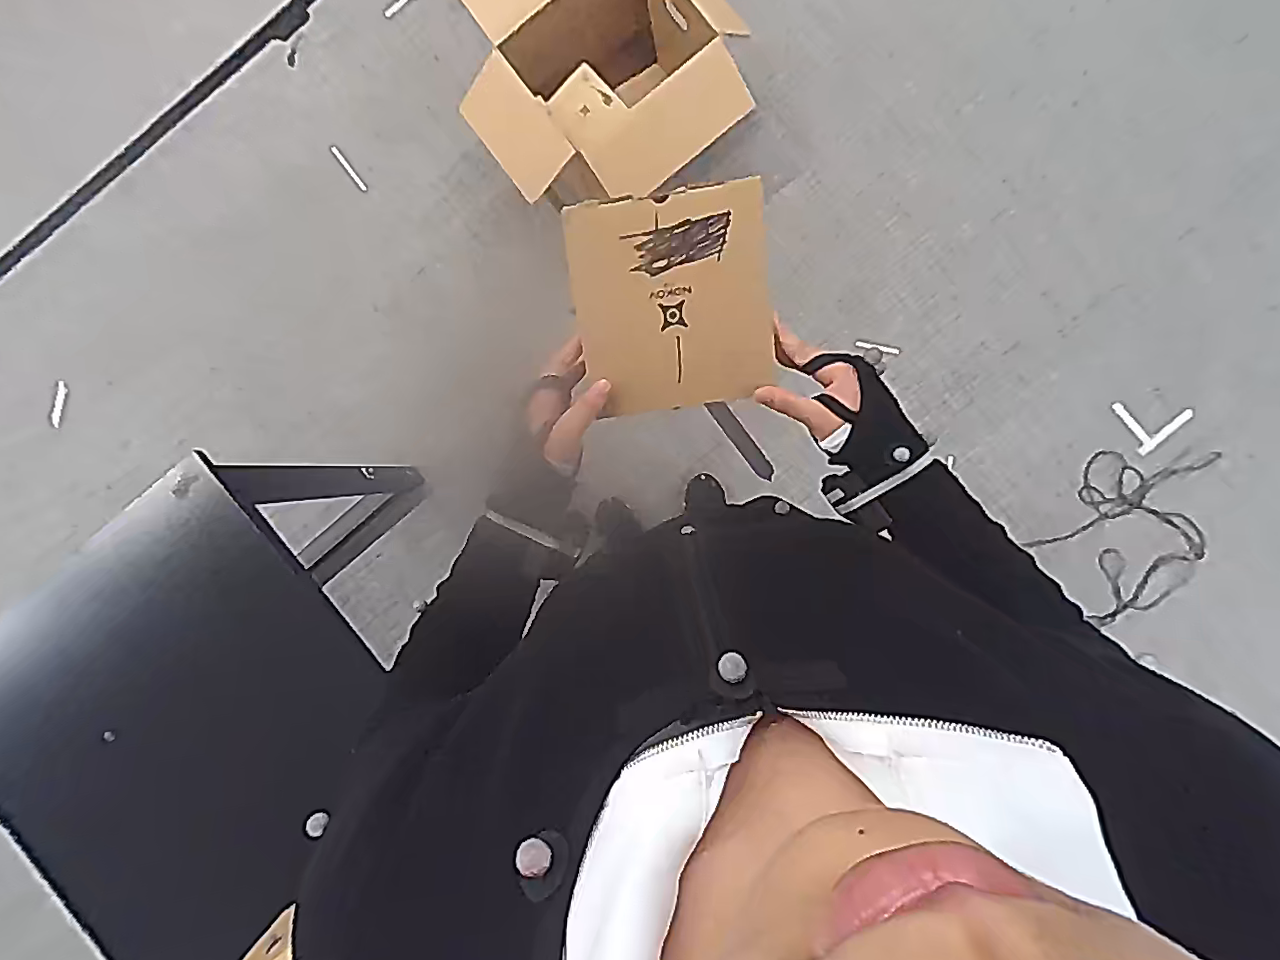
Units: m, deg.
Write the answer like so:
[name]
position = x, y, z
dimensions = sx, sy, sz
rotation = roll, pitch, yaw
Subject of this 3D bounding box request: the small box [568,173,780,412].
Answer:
[small box]
position = 0.033, -0.173, 0.531
dimensions = 0.168, 0.176, 0.179
rotation = -7, 106, 4
